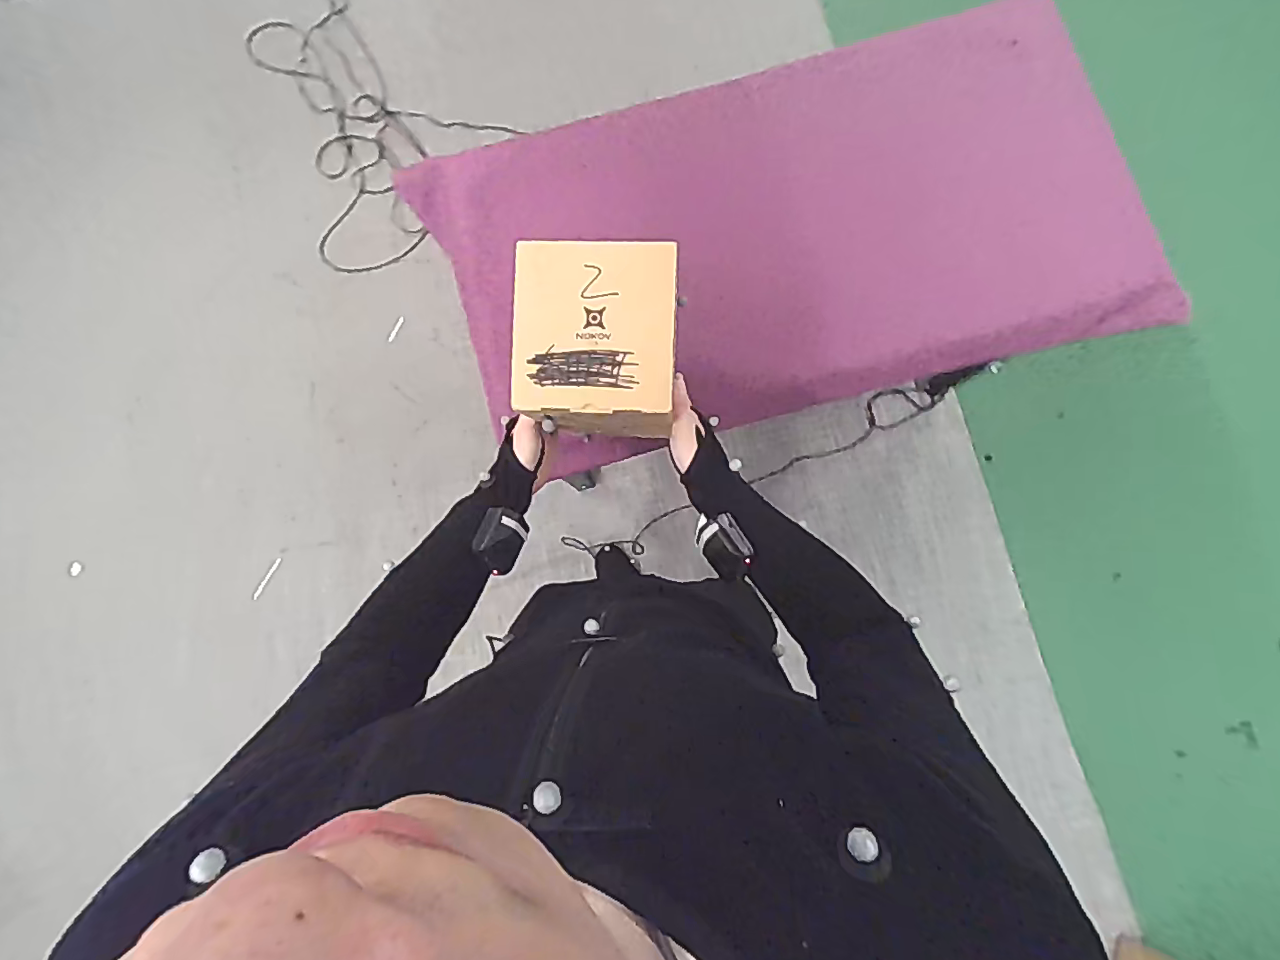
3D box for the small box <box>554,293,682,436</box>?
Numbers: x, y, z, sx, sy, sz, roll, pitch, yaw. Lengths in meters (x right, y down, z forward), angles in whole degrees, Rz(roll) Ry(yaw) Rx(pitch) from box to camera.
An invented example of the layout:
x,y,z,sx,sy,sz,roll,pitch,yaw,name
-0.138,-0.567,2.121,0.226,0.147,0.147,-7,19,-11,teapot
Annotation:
x,y,z,sx,sy,sz,roll,pitch,yaw,name
-0.024,-0.157,0.790,0.168,0.176,0.179,2,90,3,small box
